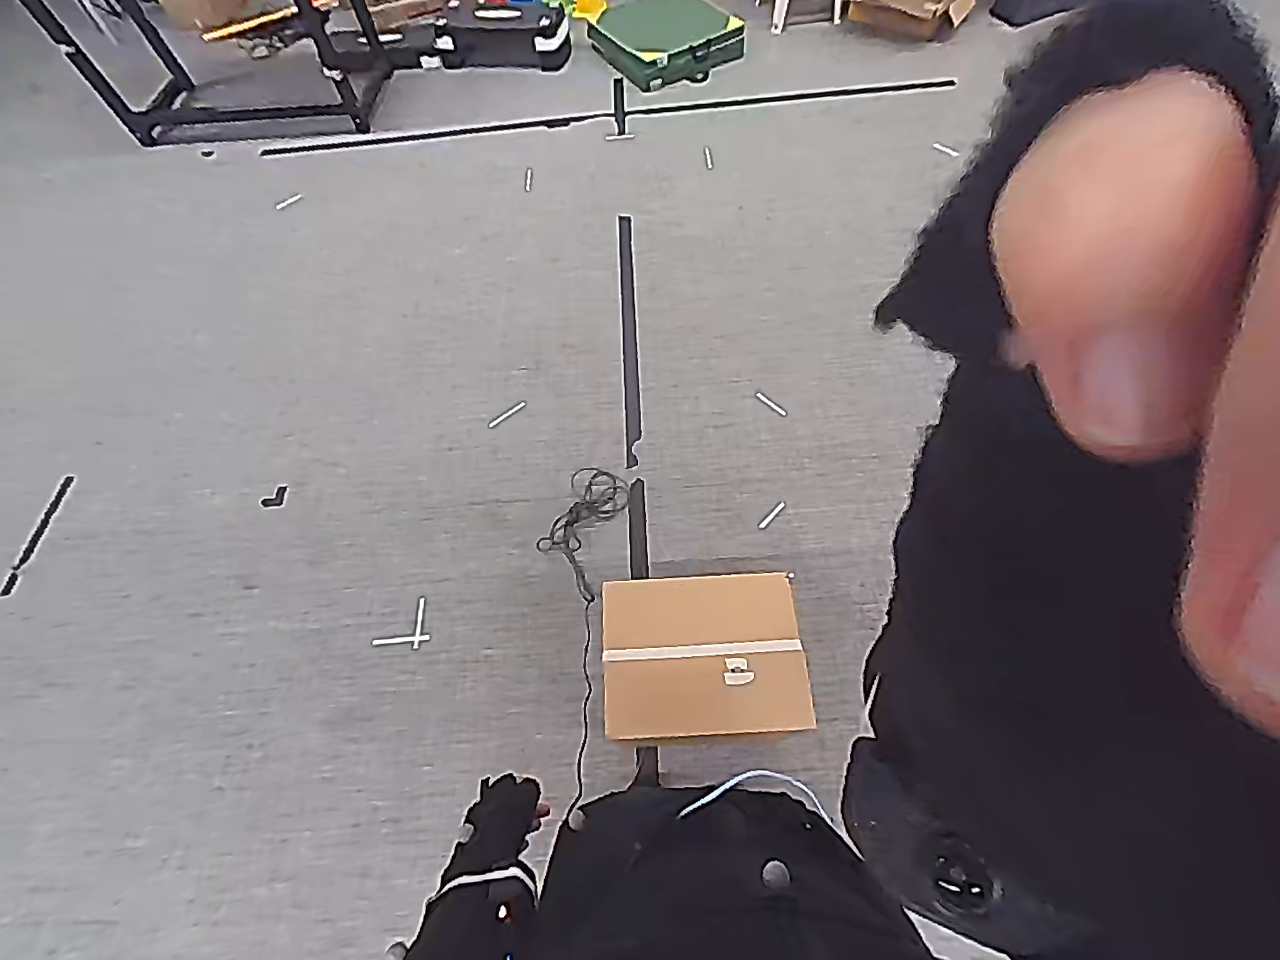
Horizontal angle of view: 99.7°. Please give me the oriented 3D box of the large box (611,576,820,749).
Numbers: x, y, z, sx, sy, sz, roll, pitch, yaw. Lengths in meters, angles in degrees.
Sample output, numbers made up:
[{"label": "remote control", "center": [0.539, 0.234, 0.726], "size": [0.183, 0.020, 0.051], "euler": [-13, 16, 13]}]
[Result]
[{"label": "large box", "center": [0.146, 0.426, 1.235], "size": [0.408, 0.320, 0.320], "euler": [-2, 62, 1]}]
